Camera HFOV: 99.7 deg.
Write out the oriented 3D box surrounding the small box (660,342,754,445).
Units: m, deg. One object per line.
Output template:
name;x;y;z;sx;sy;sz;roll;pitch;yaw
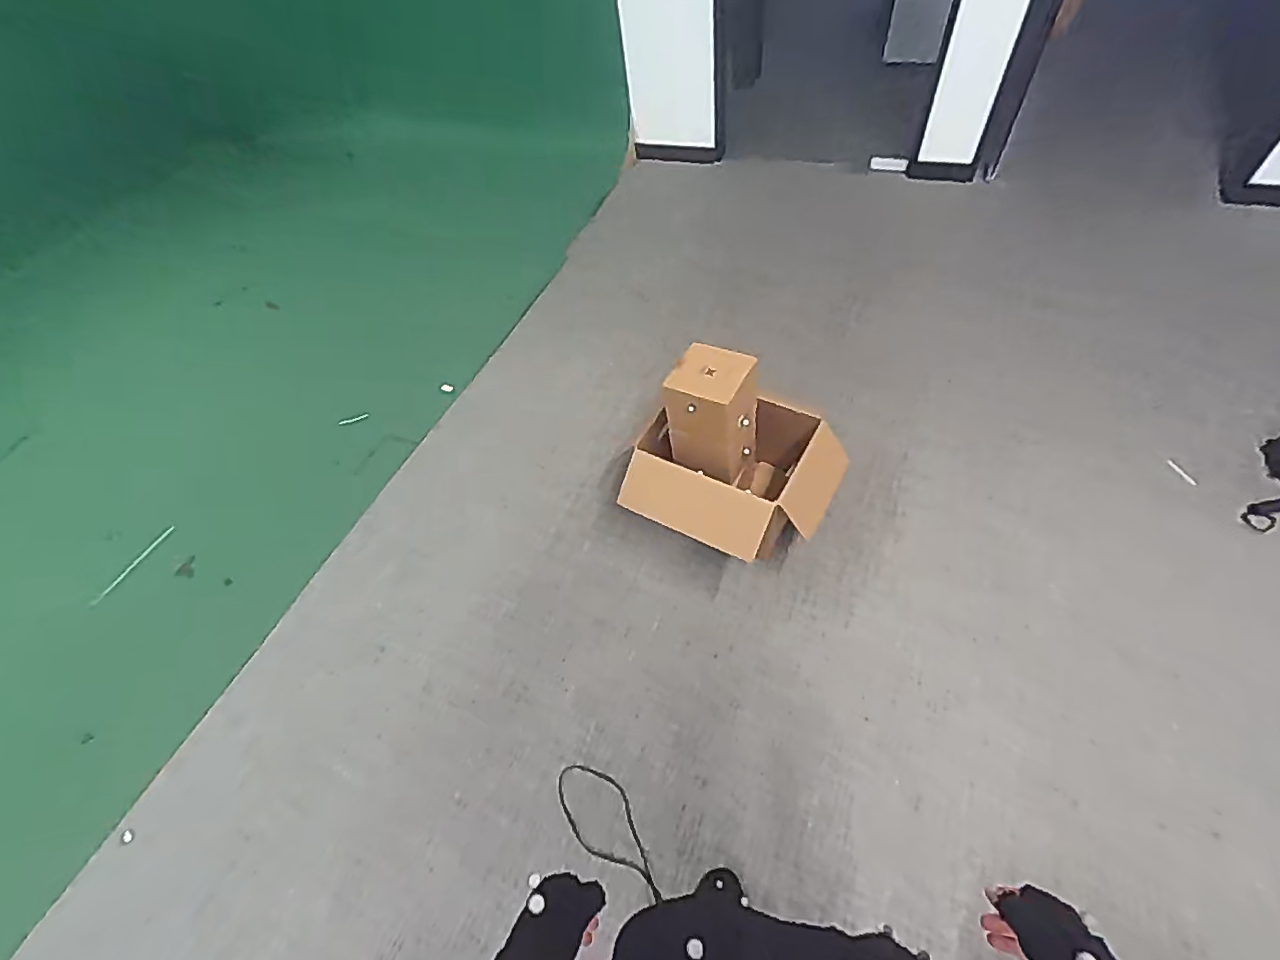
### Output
small box;0.171;-0.214;1.354;0.179;0.176;0.168;21;62;23
